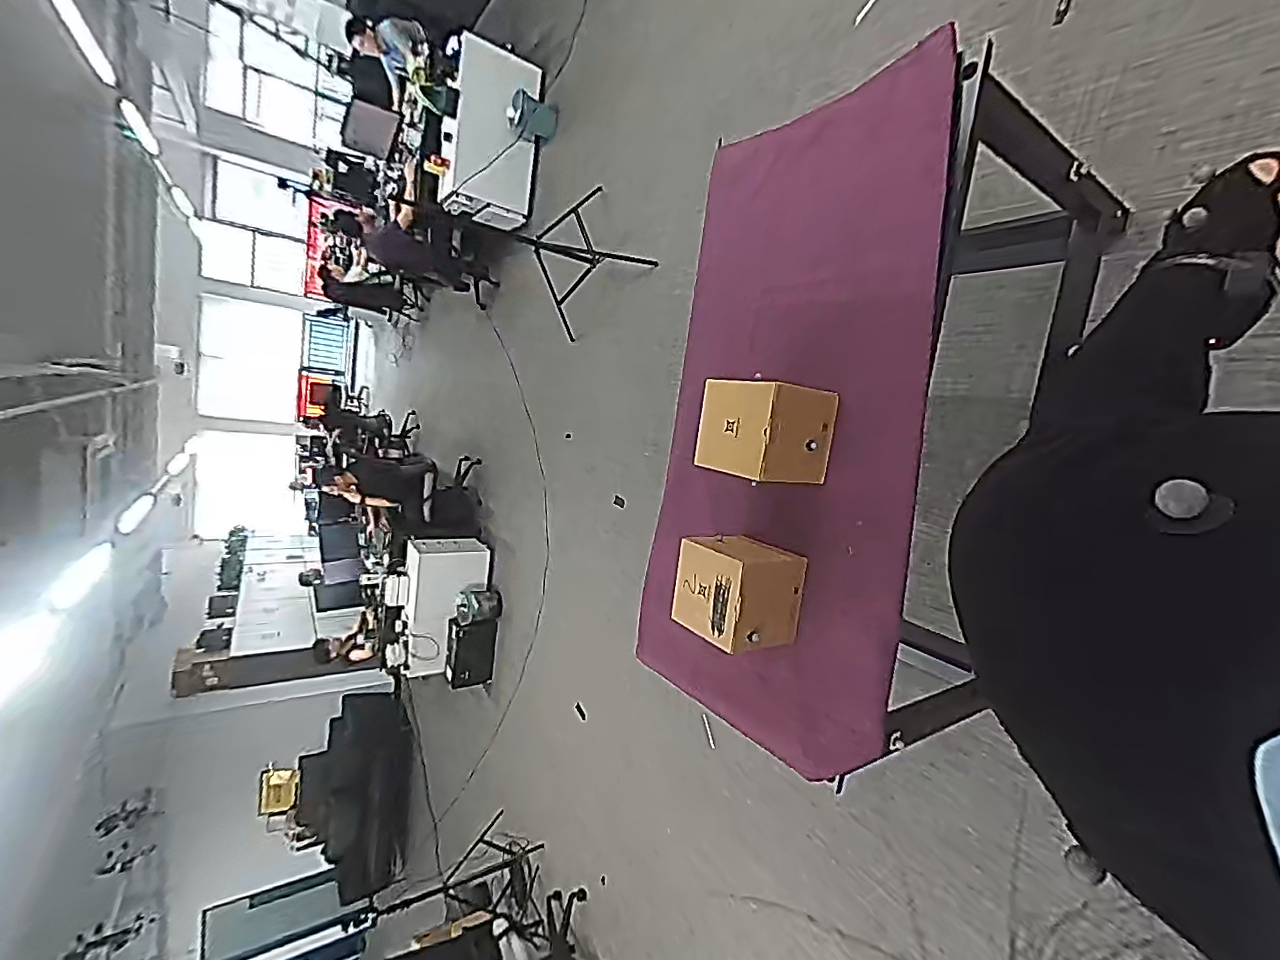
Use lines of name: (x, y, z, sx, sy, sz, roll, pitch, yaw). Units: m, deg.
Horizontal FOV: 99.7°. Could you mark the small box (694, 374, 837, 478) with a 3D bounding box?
small box: (0.229, -0.098, 0.997, 0.179, 0.176, 0.168, 18, 103, 54)
